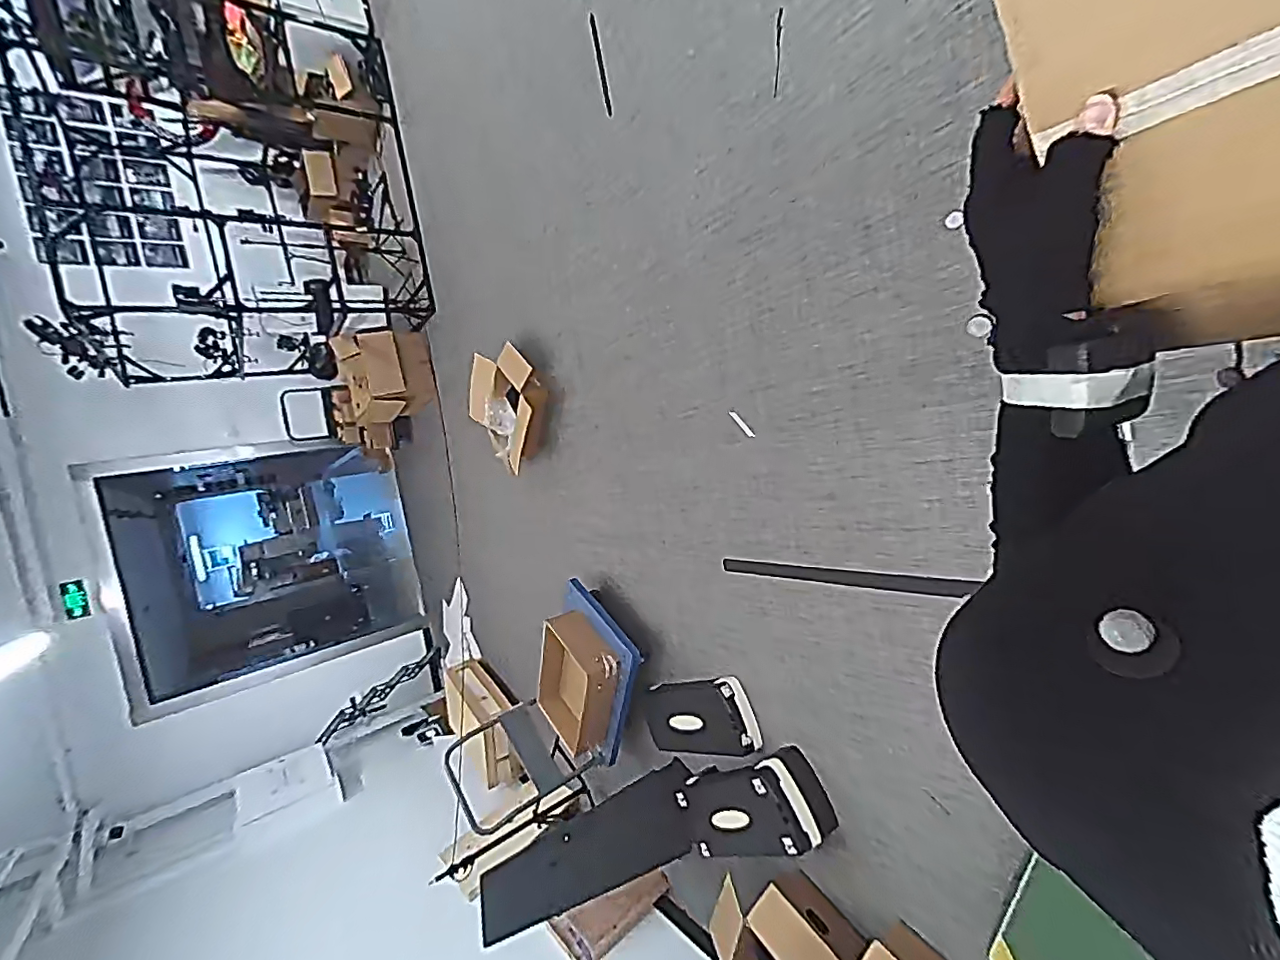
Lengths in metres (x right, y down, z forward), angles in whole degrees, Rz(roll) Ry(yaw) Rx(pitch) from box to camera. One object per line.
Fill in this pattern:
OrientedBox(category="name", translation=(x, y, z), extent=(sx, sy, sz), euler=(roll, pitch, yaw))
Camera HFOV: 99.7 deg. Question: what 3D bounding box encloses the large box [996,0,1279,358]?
OrientedBox(category="large box", translation=(0.453, -0.301, 0.238), extent=(0.408, 0.320, 0.320), euler=(0, 134, 55))
